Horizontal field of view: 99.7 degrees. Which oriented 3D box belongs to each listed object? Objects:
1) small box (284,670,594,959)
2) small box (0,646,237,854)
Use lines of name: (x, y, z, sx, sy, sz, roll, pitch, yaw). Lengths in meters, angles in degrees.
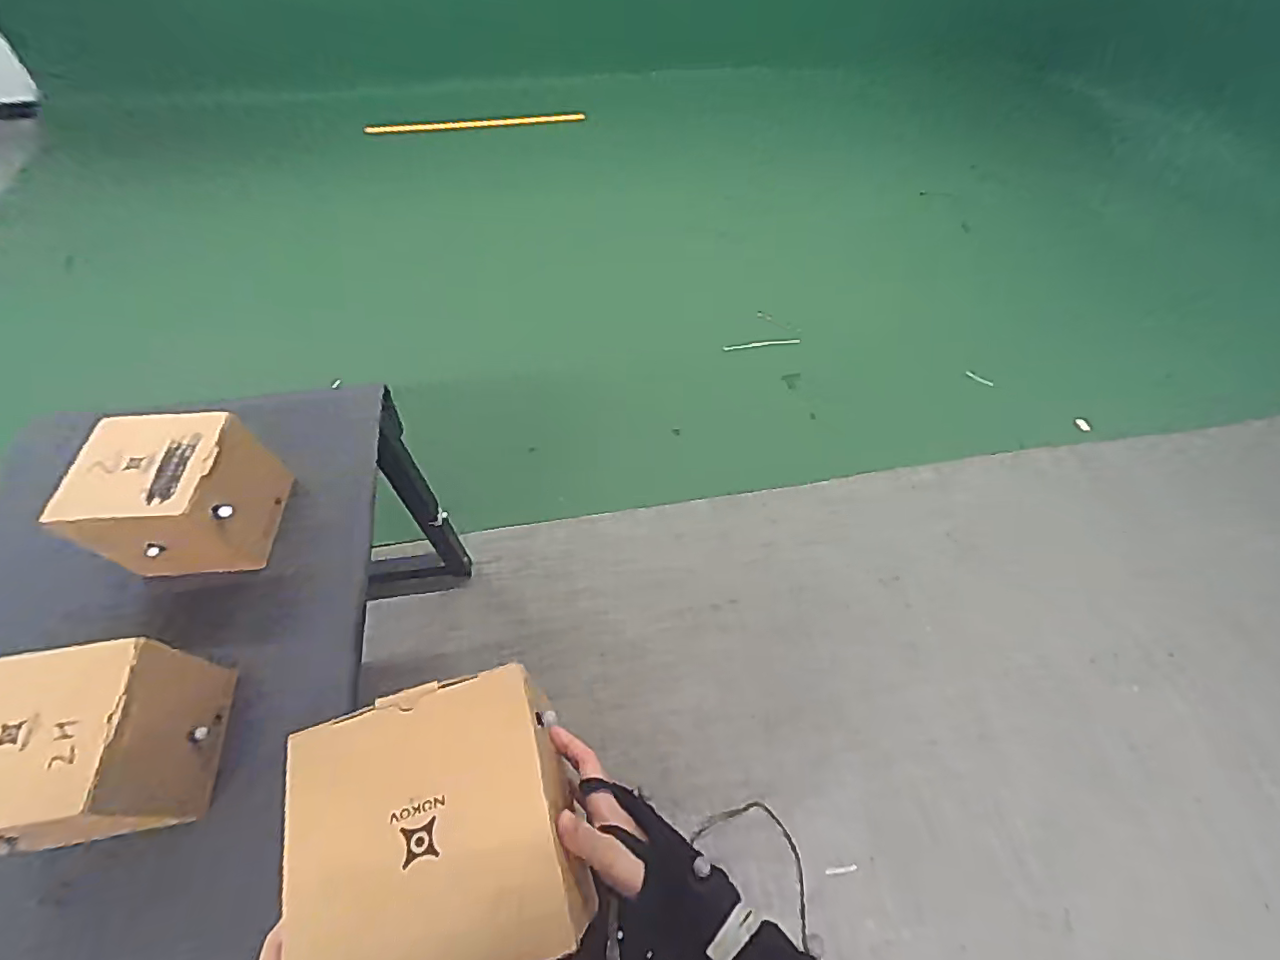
small box: (-0.138, 0.273, 0.413, 0.168, 0.176, 0.179, -16, 57, -9)
small box: (-0.598, 0.299, 0.593, 0.179, 0.176, 0.168, -8, 58, -6)
